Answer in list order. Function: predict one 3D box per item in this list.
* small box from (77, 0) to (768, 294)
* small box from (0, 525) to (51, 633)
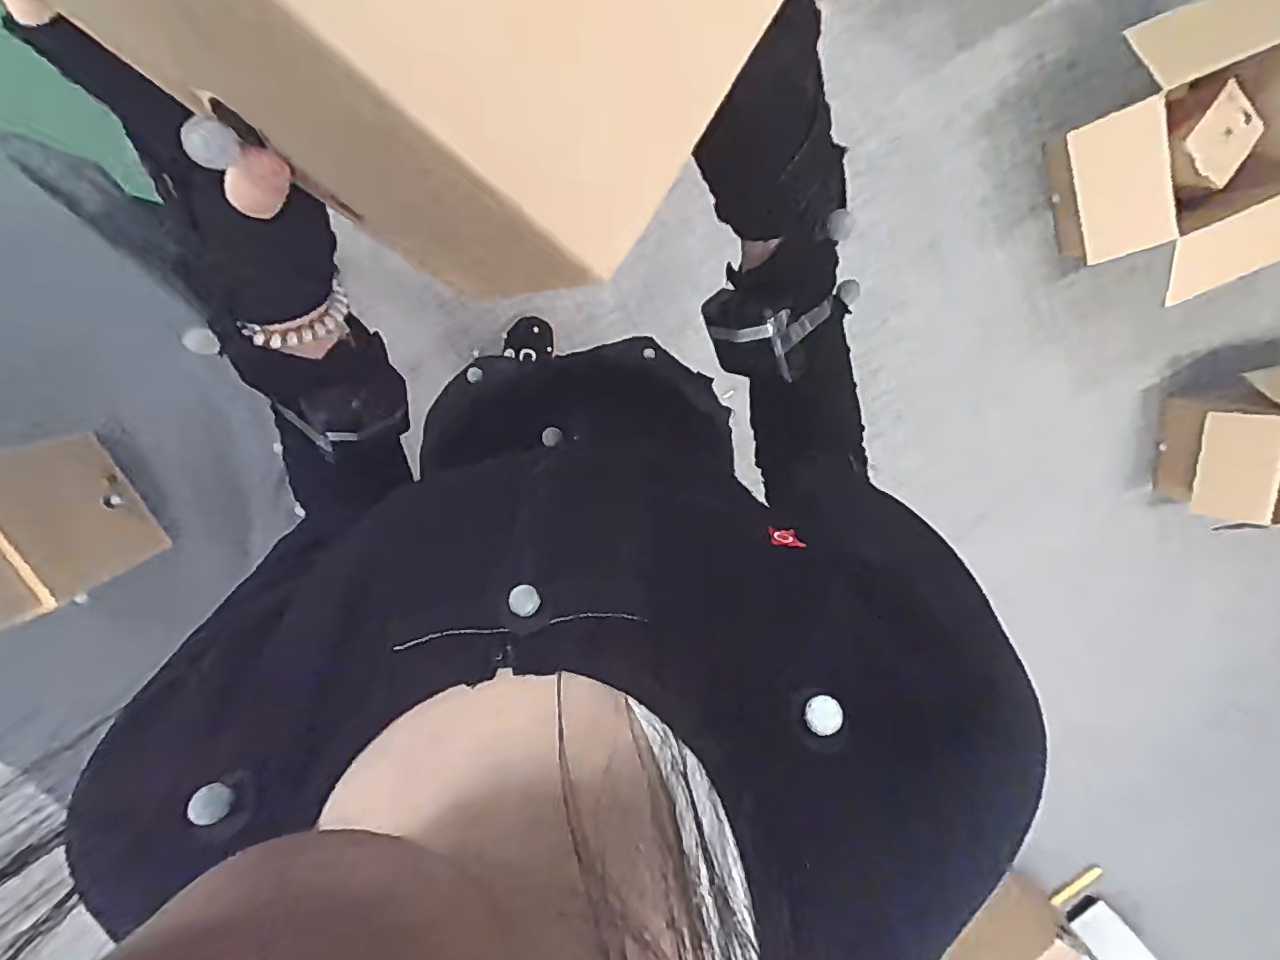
[{"bbox_3d":[-0.063,-0.181,0.167,0.168,0.176,0.179,33,86,-31],"label":"small box"},{"bbox_3d":[-0.699,0.099,0.464,0.168,0.176,0.179,-21,106,0],"label":"small box"}]
